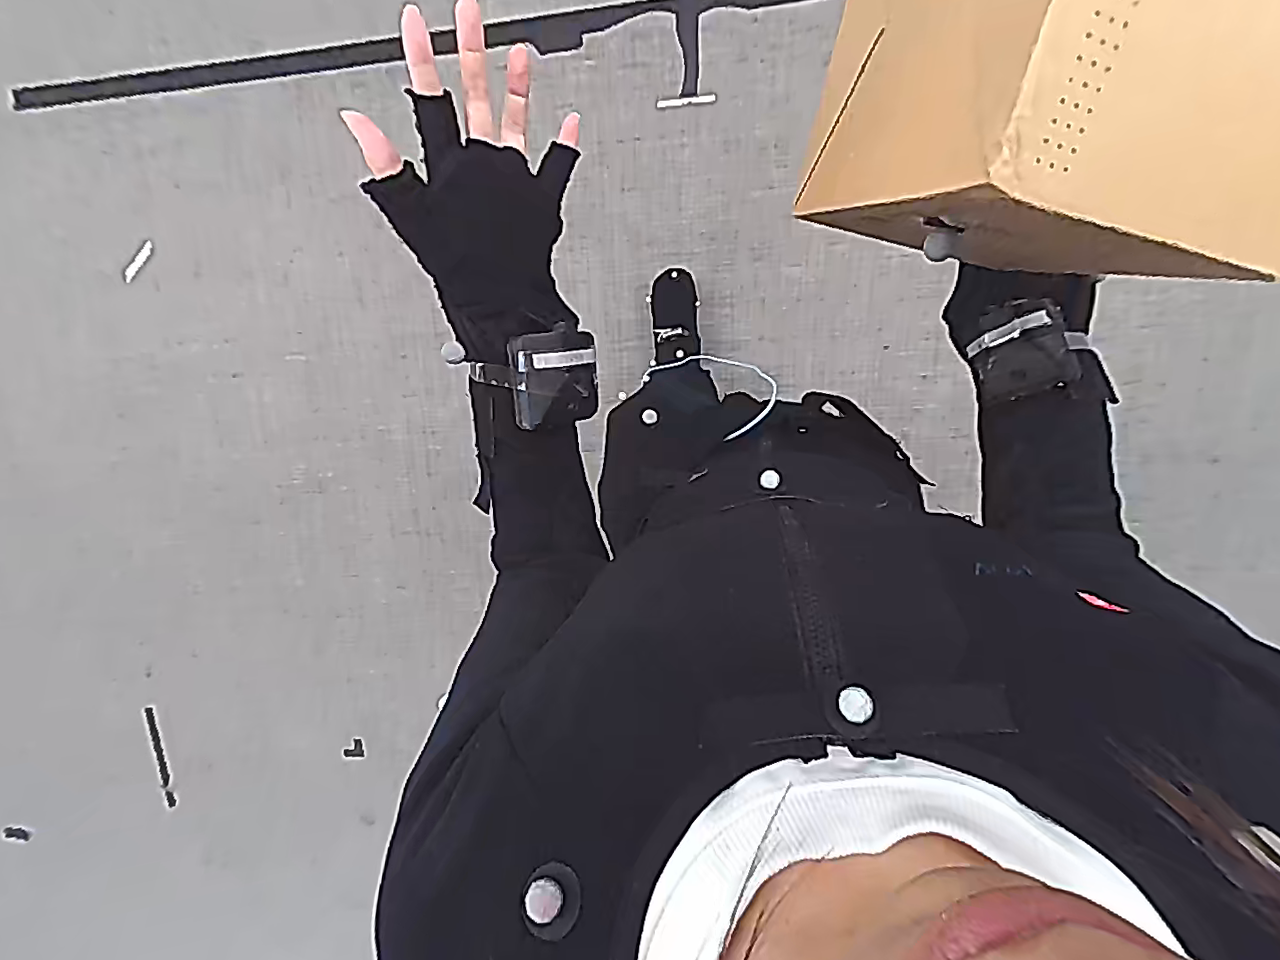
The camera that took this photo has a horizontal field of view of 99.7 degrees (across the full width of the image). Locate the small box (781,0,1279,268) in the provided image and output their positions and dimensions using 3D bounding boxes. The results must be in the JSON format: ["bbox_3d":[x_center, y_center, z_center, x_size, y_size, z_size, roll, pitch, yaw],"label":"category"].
[{"bbox_3d":[0.196,-0.214,0.273,0.176,0.168,0.179,7,110,-13],"label":"small box"}]
